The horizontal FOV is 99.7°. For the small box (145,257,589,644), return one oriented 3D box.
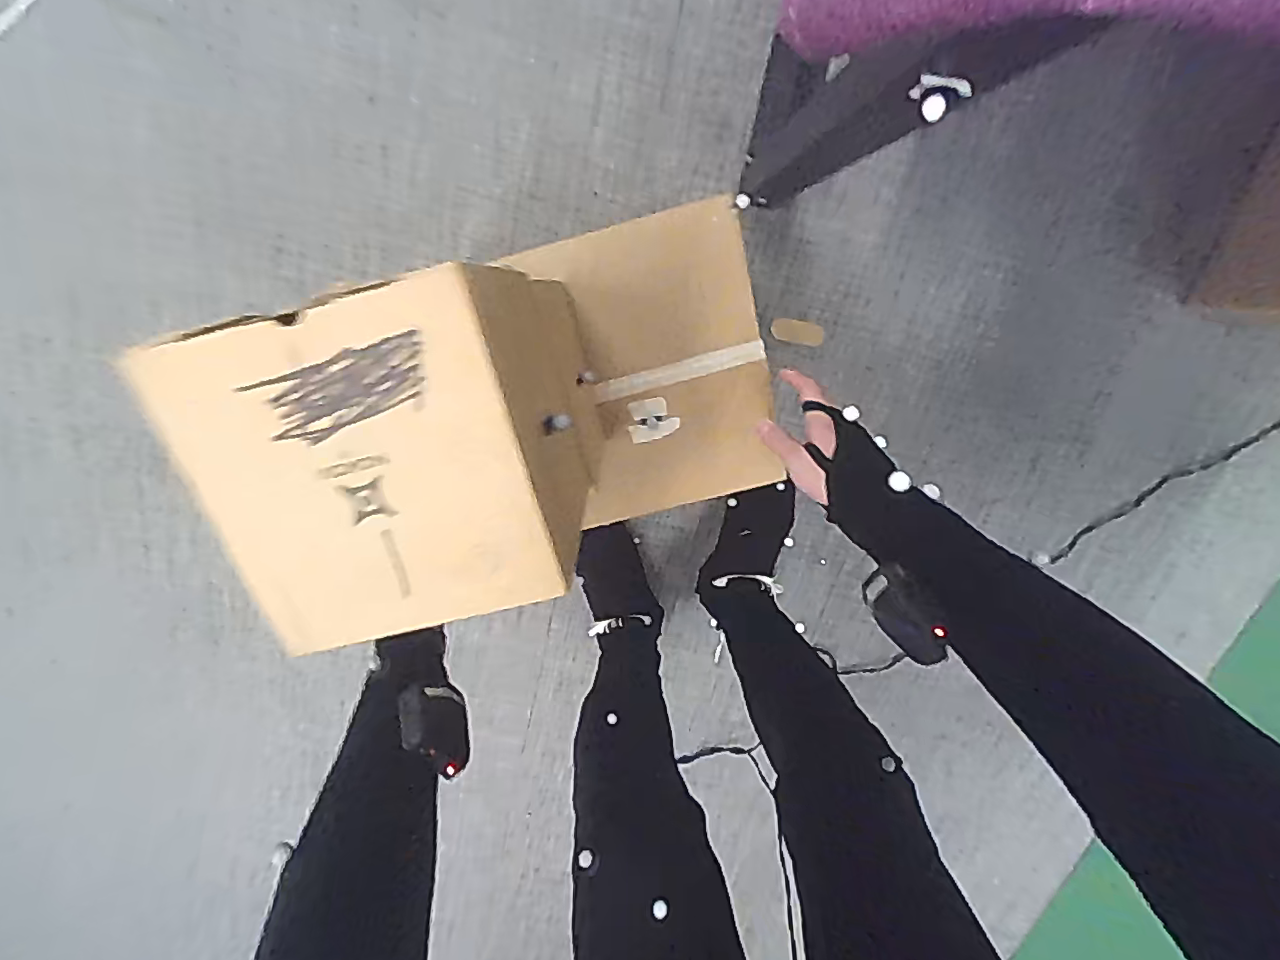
[{"bbox_3d":[-0.136,-0.030,0.350,0.168,0.176,0.179,-13,110,4],"label":"small box"}]

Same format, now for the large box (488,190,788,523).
[{"bbox_3d":[-0.060,-0.149,0.743,0.408,0.320,0.320,-15,110,4],"label":"large box"}]
